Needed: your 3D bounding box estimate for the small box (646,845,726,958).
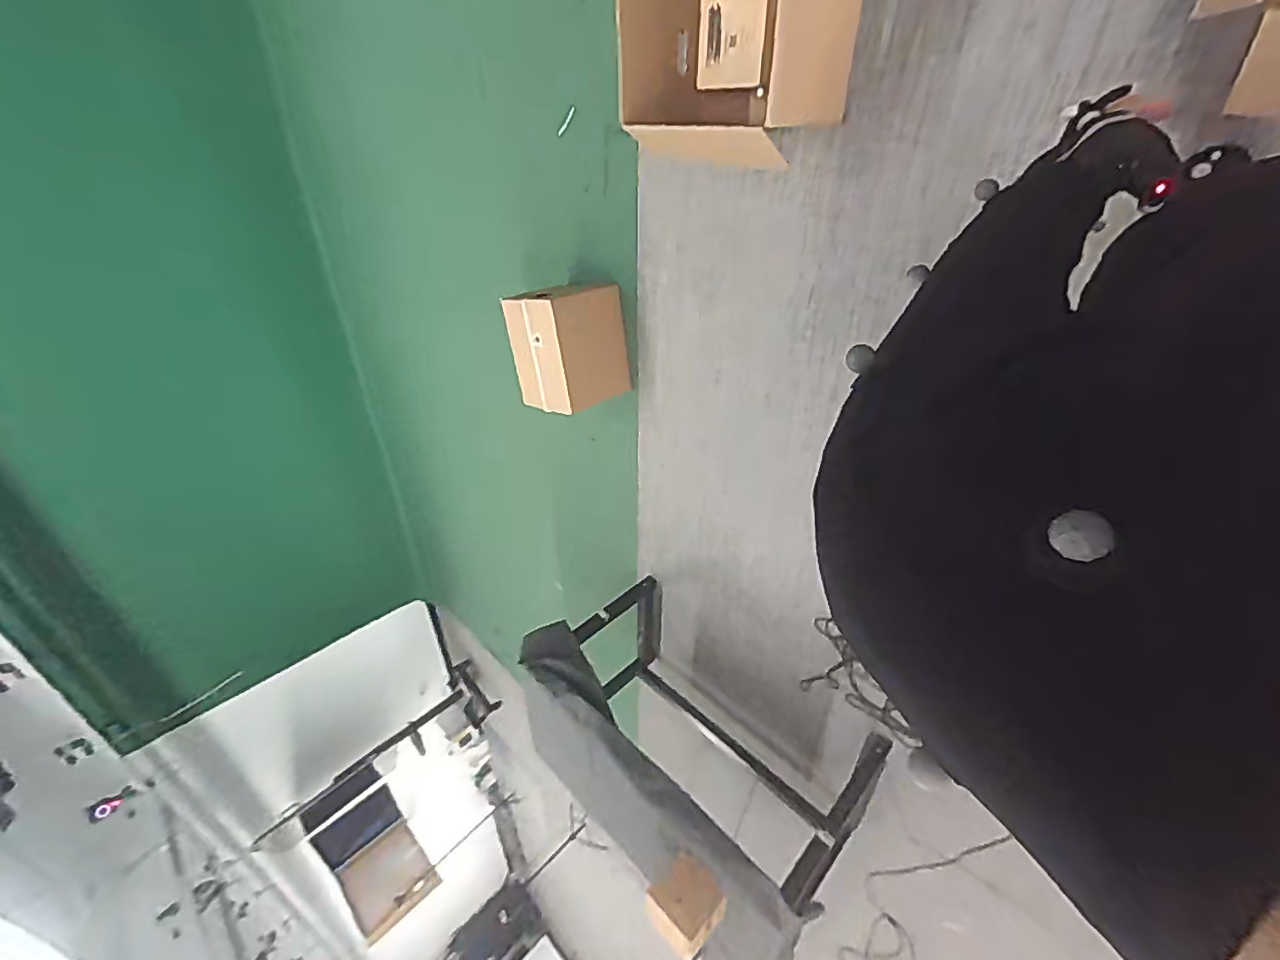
[{"bbox_3d":[0.137,1.250,1.612,0.179,0.176,0.168,29,132,38],"label":"small box"}]
